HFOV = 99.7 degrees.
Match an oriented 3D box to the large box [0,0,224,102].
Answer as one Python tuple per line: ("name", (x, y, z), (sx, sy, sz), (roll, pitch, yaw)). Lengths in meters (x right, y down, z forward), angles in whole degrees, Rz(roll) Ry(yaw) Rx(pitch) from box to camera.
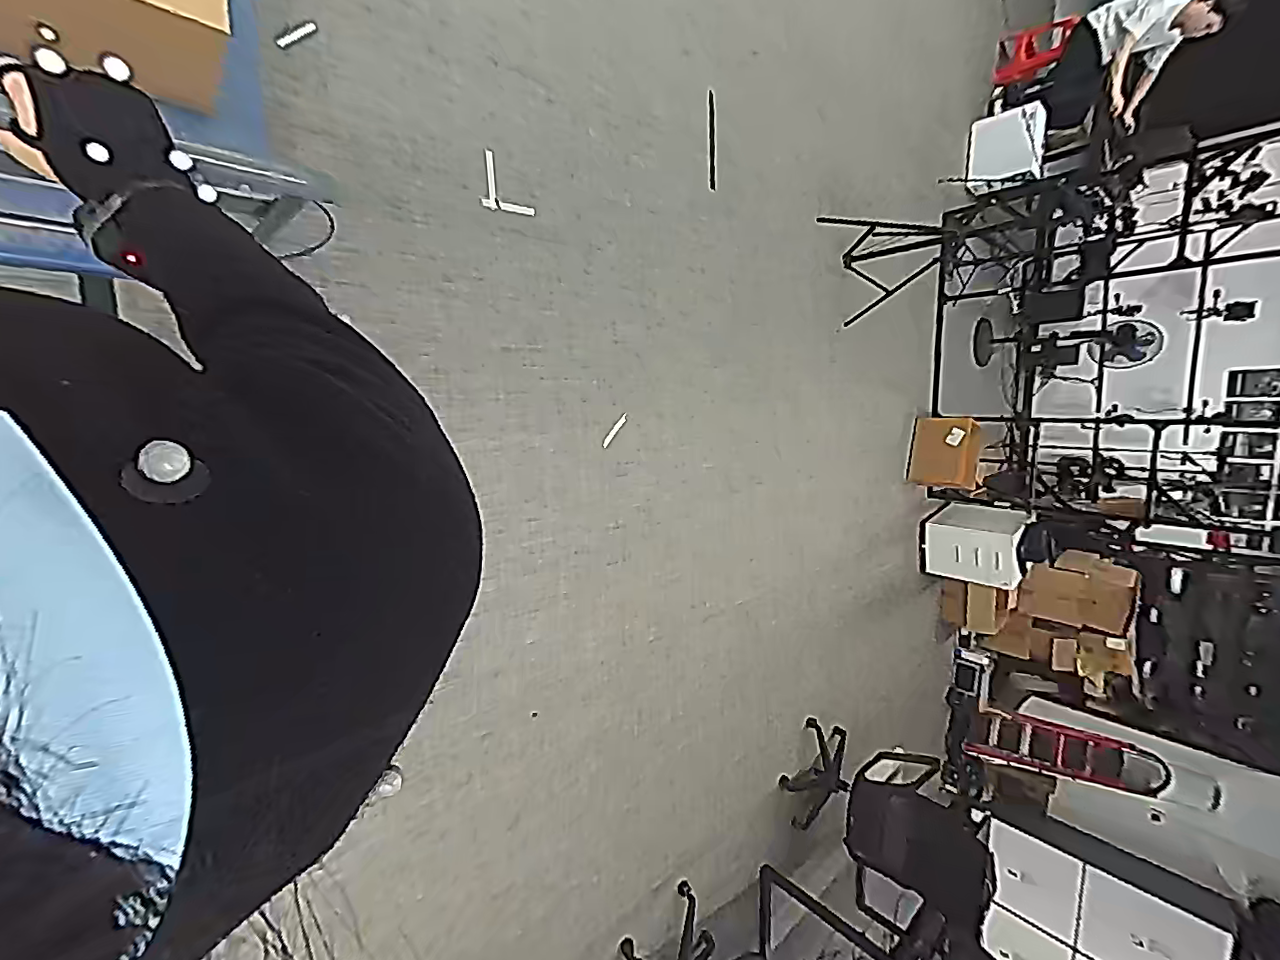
("large box", (-0.864, -0.823, 0.764), (0.408, 0.320, 0.320), (-6, 99, -41))
